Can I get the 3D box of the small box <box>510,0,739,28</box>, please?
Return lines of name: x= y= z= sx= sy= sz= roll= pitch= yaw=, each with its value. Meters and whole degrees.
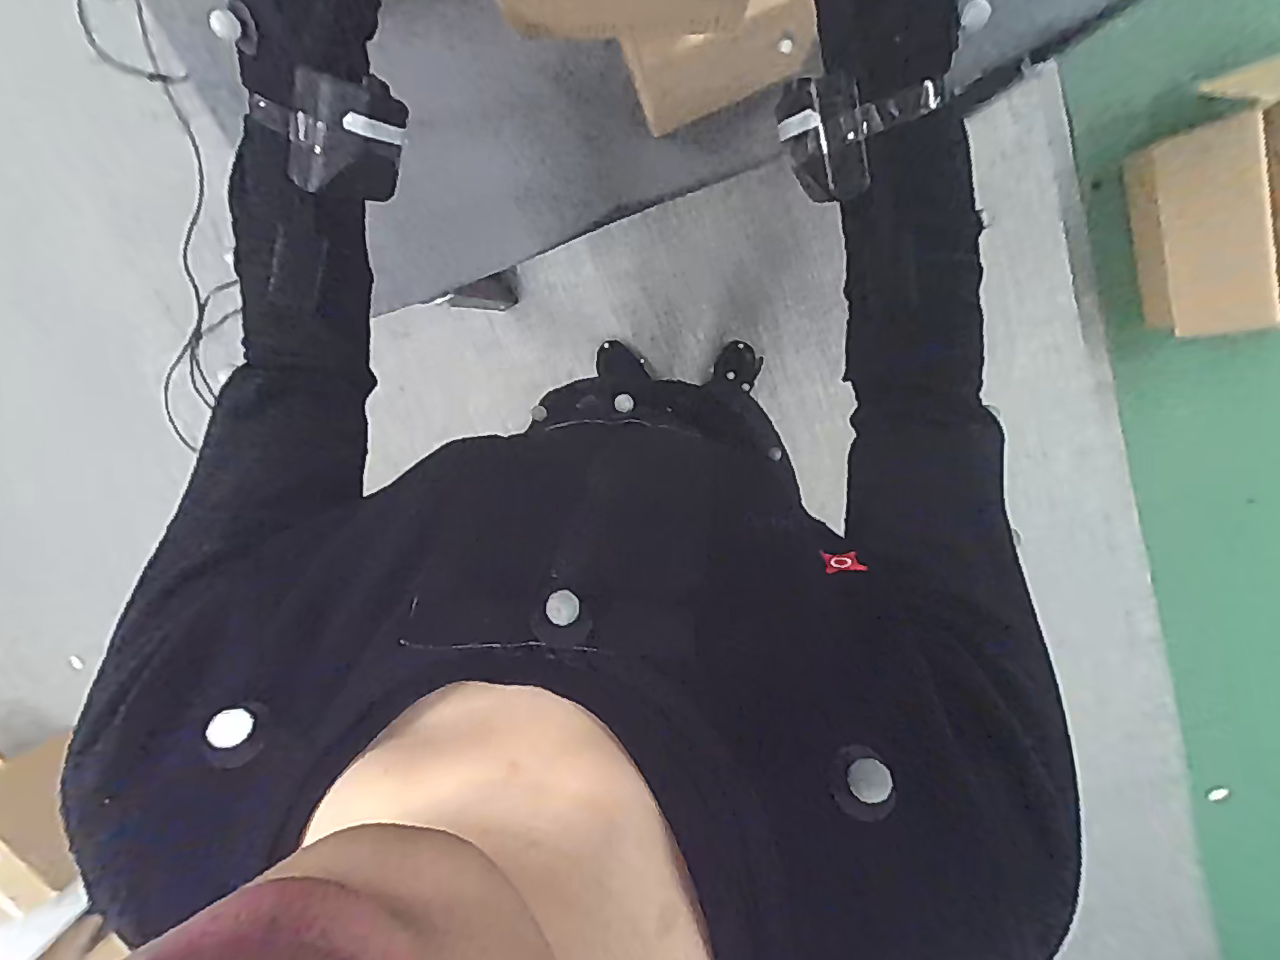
small box: x=-0.007 y=-0.393 z=0.309 sx=0.179 sy=0.176 sz=0.168 roll=1 pitch=111 yaw=1
